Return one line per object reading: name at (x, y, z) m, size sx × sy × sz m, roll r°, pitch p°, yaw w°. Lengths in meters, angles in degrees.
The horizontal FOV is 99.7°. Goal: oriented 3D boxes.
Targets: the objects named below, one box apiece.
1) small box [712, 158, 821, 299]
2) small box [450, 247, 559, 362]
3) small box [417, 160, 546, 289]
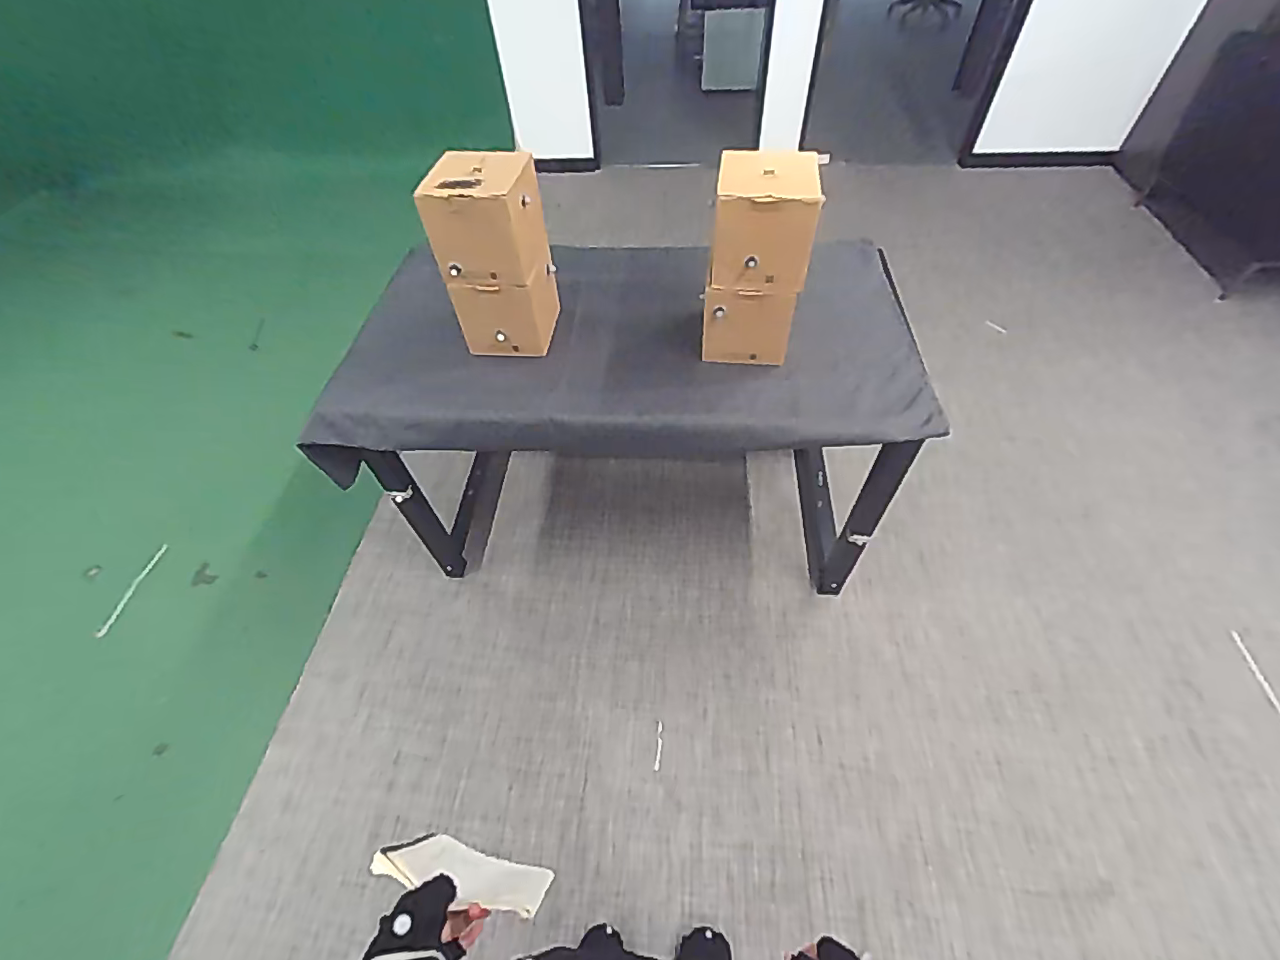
small box at (0.219, -0.451, 0.972) m, size 0.168 × 0.176 × 0.179 m, roll 5°, pitch 52°, yaw 7°
small box at (-0.273, -0.372, 1.140) m, size 0.168 × 0.176 × 0.179 m, roll 2°, pitch 52°, yaw 5°
small box at (-0.282, -0.476, 1.013) m, size 0.168 × 0.176 × 0.179 m, roll 4°, pitch 51°, yaw 6°
